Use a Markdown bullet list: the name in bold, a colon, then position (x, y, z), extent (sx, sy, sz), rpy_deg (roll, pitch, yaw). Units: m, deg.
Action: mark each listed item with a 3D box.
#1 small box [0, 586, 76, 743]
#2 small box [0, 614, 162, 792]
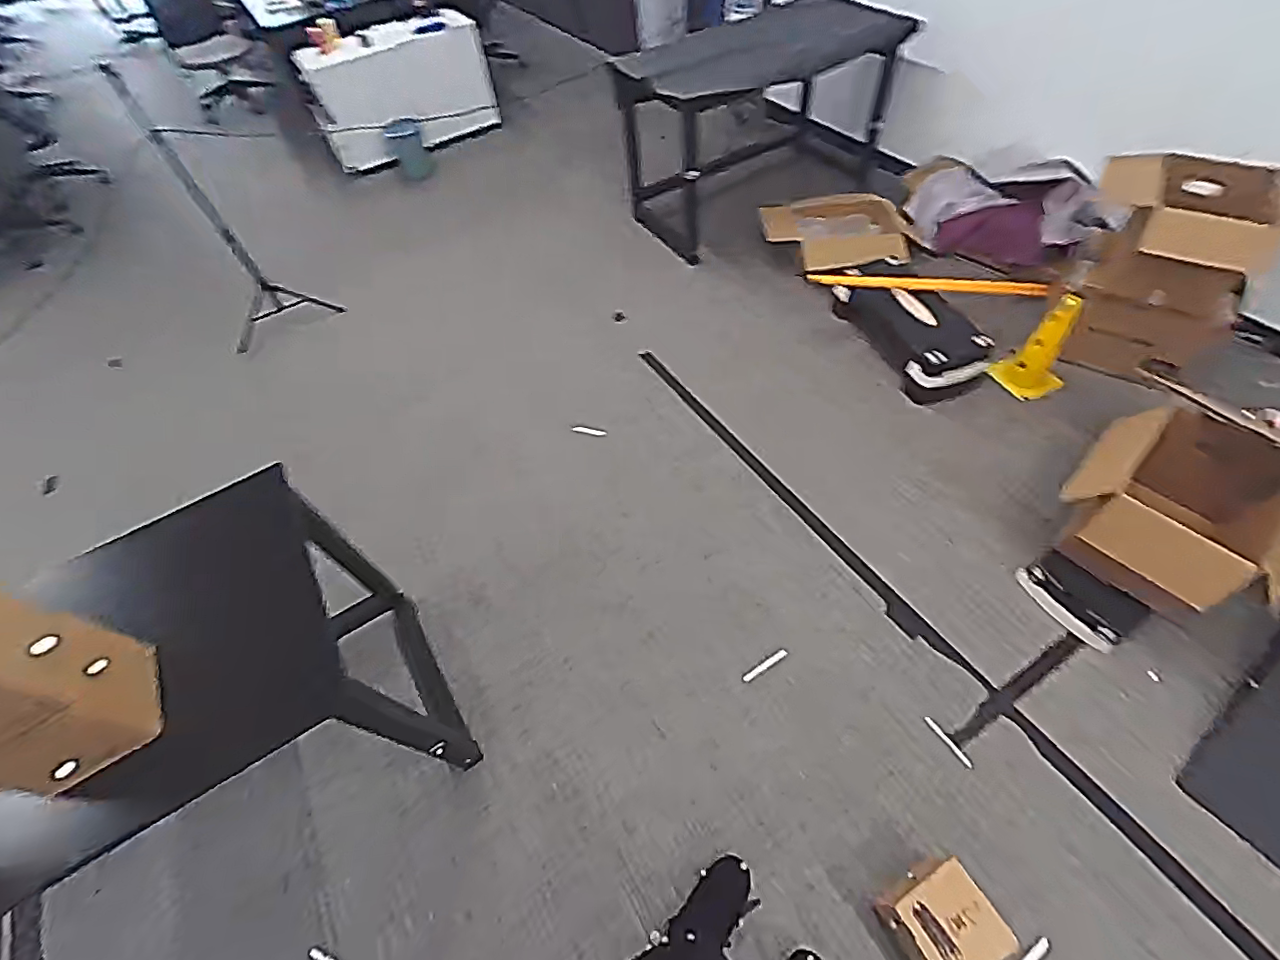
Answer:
- **small box**: position (-0.900, 0.255, 0.697), extent (0.179, 0.176, 0.168), rpy_deg (-32, 58, -17)
- **small box**: position (-0.889, 0.346, 0.833), extent (0.168, 0.176, 0.179), rpy_deg (-30, 57, -15)
